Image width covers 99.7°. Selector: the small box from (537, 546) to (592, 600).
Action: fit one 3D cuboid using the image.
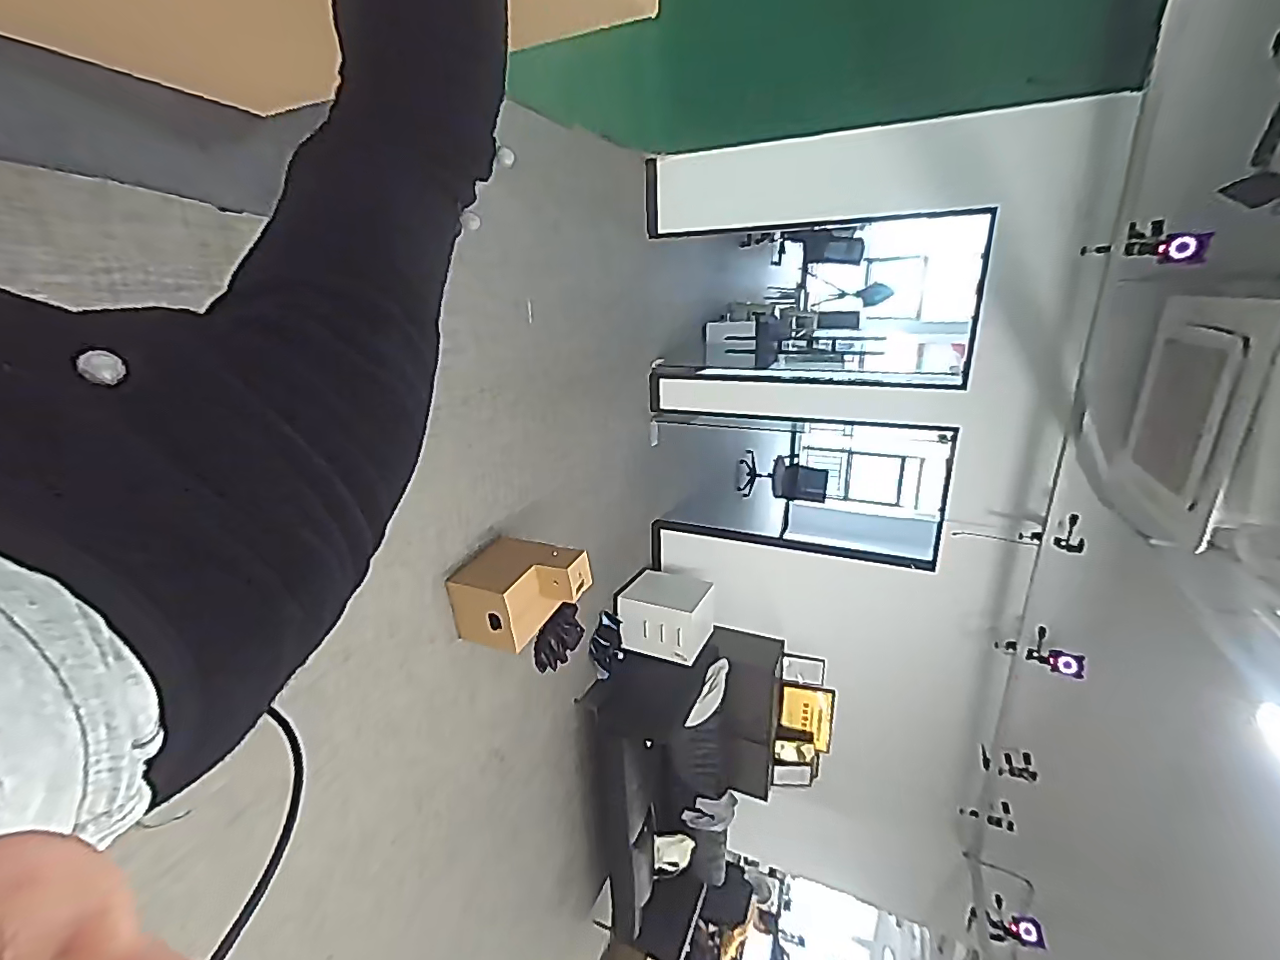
[{"bbox_3d":[-0.334,0.409,2.406,0.168,0.176,0.179,-44,131,-56],"label":"small box"}]
